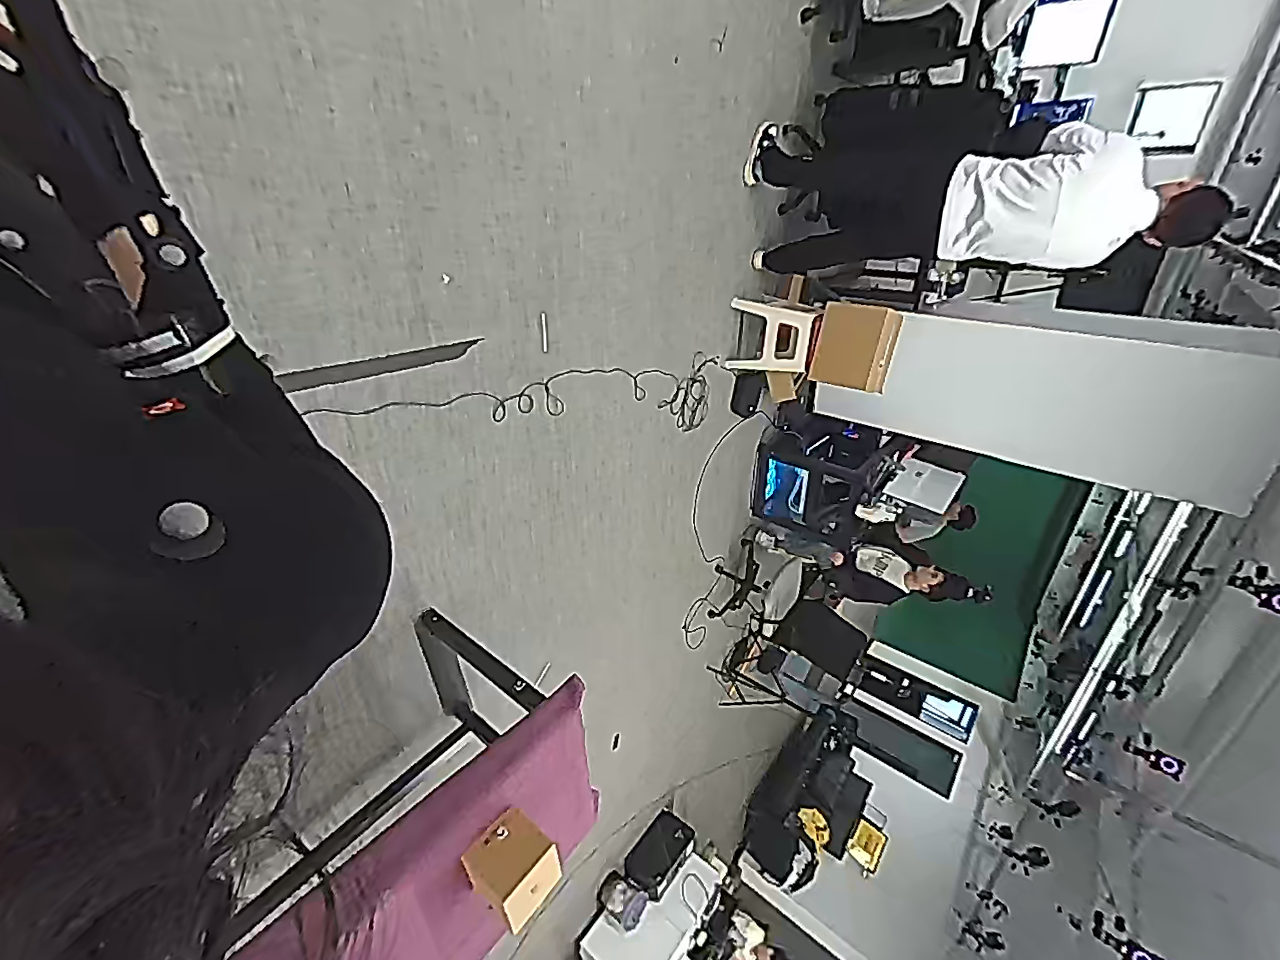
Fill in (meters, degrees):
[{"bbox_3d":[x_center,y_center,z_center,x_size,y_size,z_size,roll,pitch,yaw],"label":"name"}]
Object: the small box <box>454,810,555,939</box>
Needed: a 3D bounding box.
[{"bbox_3d":[-0.339,0.983,1.362,0.168,0.176,0.179,-35,133,-42],"label":"small box"}]
